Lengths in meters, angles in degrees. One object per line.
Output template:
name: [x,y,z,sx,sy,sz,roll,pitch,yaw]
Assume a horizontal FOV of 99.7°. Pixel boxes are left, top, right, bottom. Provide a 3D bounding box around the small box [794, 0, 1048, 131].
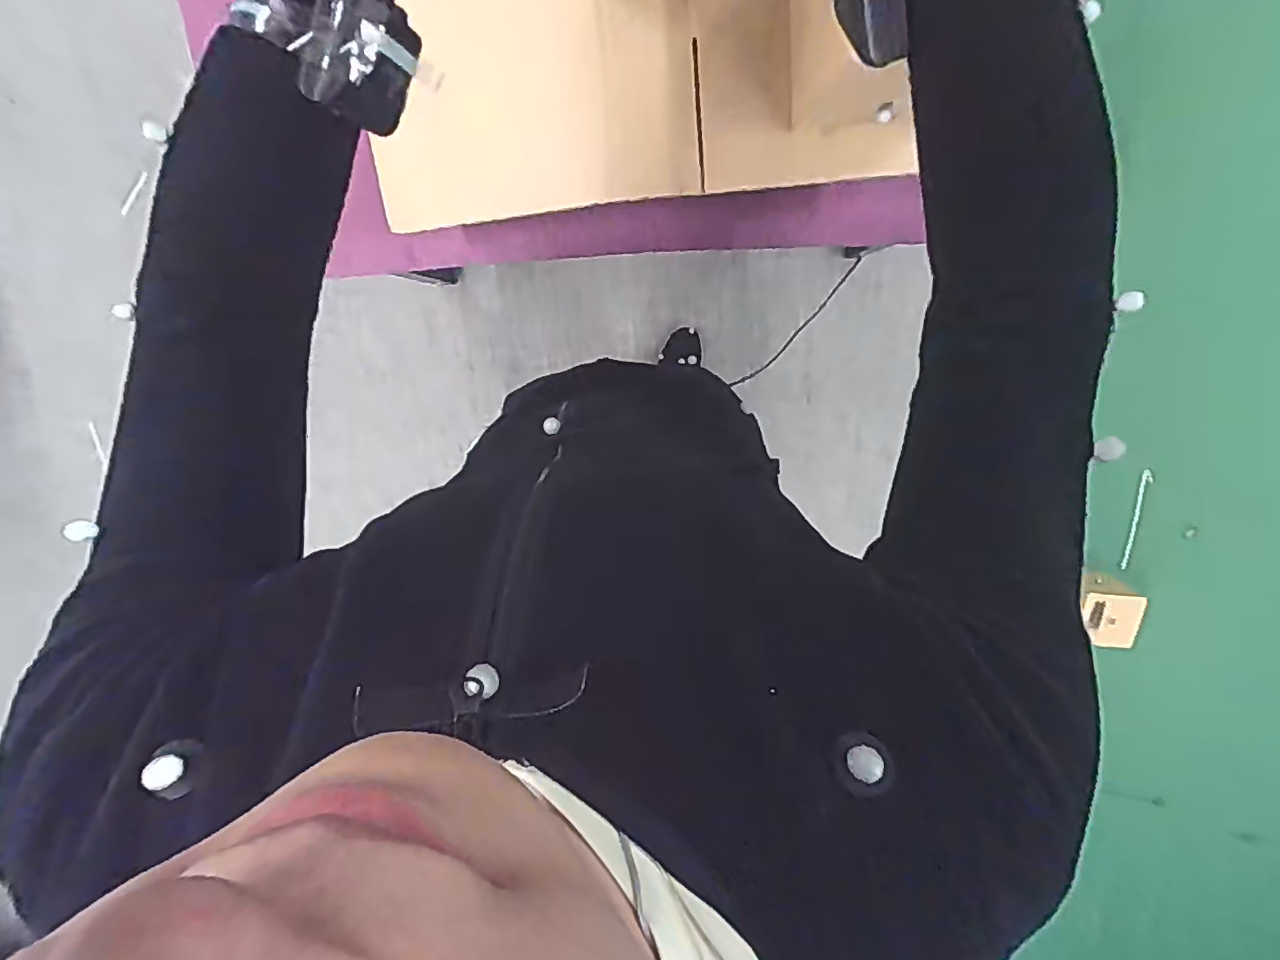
small box: [0.248,-0.460,0.508,0.168,0.176,0.179,-5,105,0]
